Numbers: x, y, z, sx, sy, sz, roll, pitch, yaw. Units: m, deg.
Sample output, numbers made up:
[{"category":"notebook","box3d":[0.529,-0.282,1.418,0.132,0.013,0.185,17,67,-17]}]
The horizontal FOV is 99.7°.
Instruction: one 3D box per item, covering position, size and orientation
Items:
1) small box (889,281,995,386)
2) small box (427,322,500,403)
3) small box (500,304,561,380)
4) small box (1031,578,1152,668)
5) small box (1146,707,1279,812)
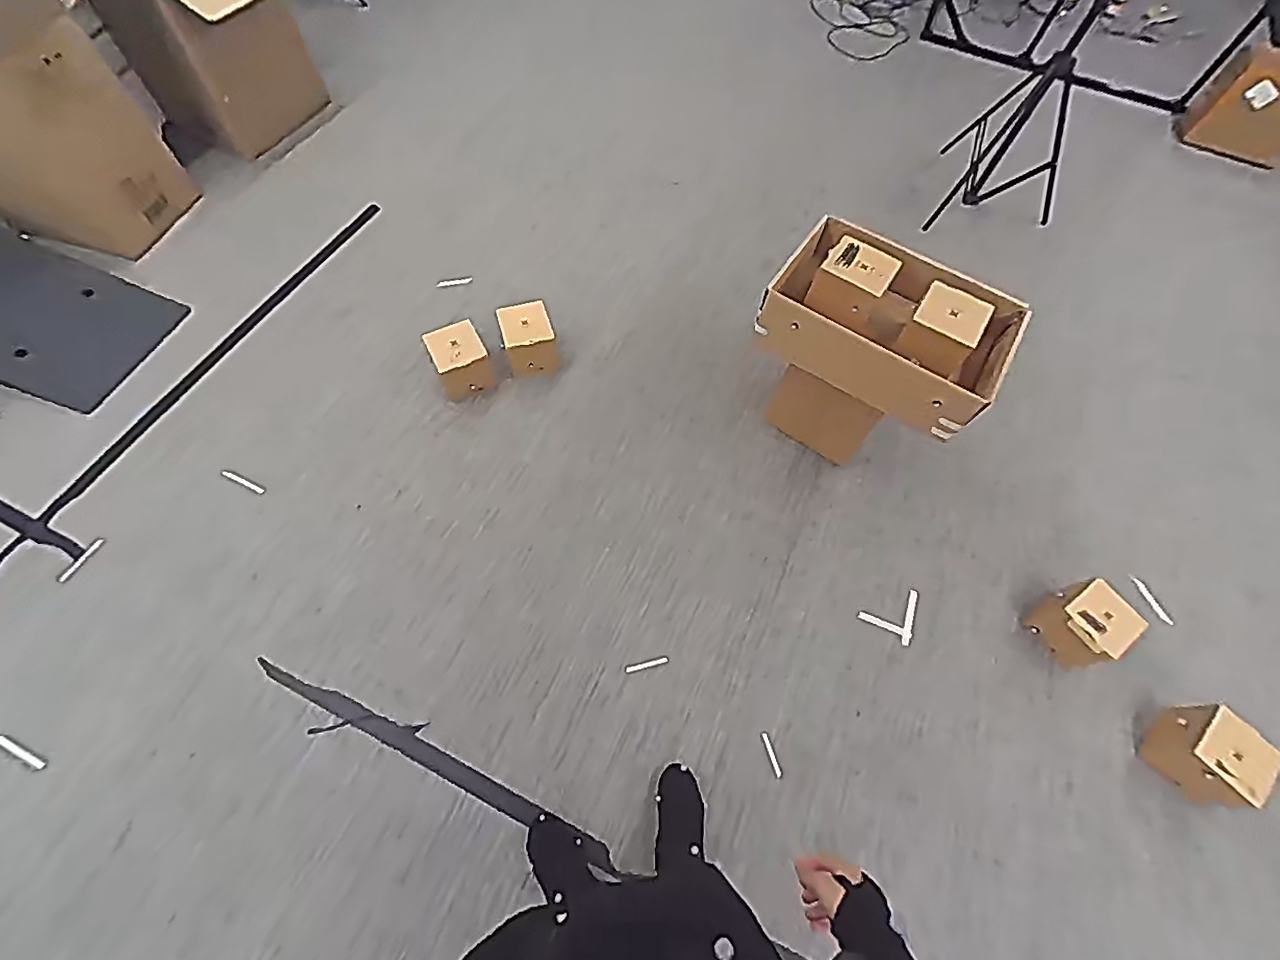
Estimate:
[{"category":"small box","box3d":[0.800,-0.387,1.444,0.168,0.176,0.179,31,62,14]},{"category":"small box","box3d":[-0.594,-0.394,1.834,0.168,0.176,0.179,-25,68,-15]},{"category":"small box","box3d":[-0.381,-0.481,1.894,0.168,0.176,0.179,-16,66,-11]},{"category":"small box","box3d":[1.269,0.413,1.538,0.179,0.176,0.168,-30,69,-17]},{"category":"small box","box3d":[1.479,0.717,1.396,0.179,0.176,0.168,-36,70,-20]}]
